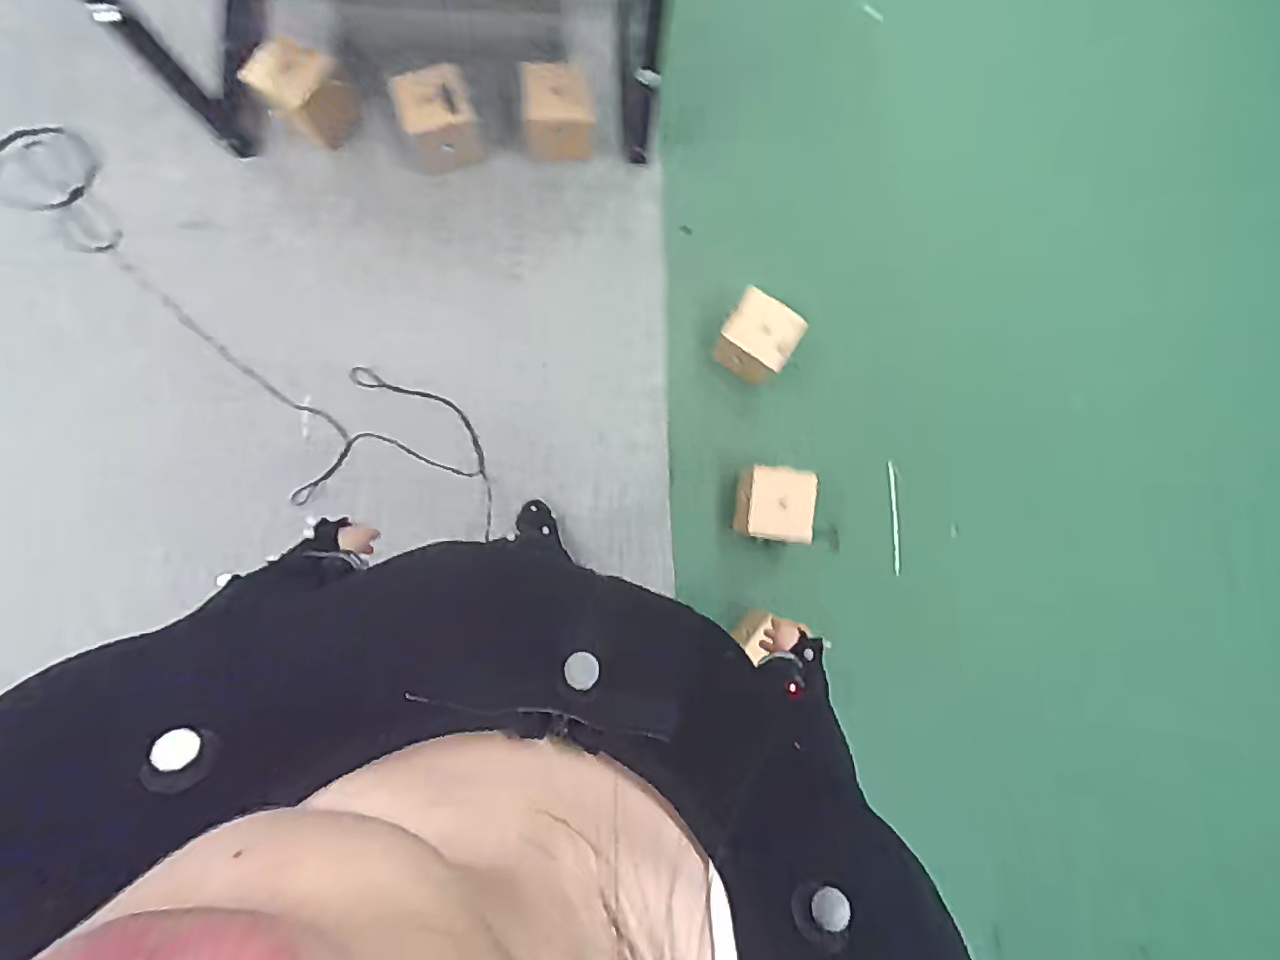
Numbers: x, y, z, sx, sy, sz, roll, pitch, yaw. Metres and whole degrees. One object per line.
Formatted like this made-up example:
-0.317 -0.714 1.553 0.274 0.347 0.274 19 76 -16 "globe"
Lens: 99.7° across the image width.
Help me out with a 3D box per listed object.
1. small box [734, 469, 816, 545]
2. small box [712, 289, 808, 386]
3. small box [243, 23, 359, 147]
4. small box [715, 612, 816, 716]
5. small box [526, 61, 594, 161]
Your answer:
0.356 0.074 1.451 0.168 0.176 0.179 8 85 -3 "small box"
0.322 -0.383 1.492 0.179 0.176 0.168 34 82 0 "small box"
-0.902 -1.054 1.459 0.168 0.176 0.179 32 82 -1 "small box"
0.316 0.469 1.410 0.168 0.176 0.179 41 84 0 "small box"
-0.219 -1.021 1.507 0.179 0.176 0.168 -2 86 -5 "small box"
